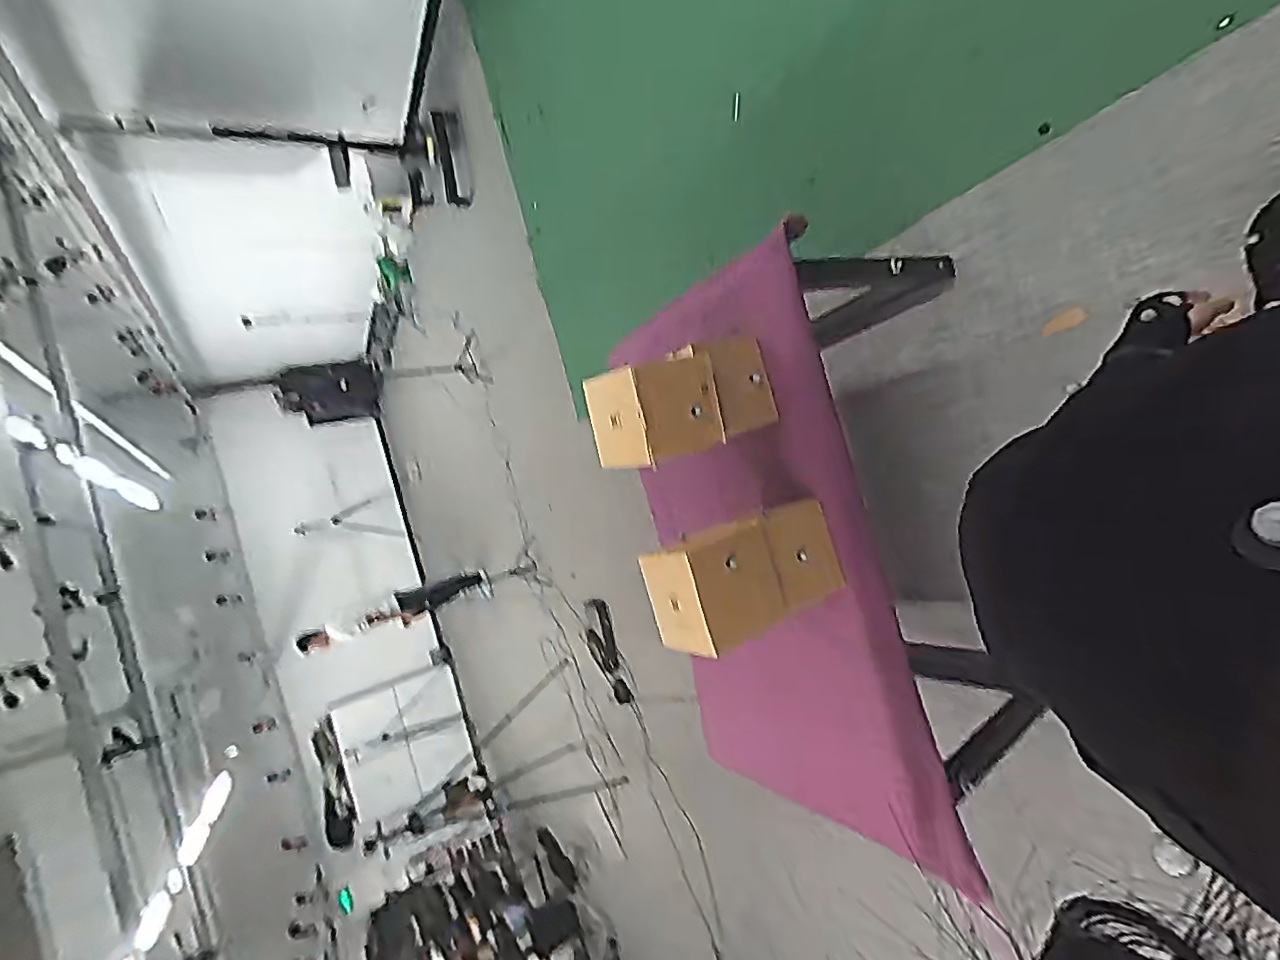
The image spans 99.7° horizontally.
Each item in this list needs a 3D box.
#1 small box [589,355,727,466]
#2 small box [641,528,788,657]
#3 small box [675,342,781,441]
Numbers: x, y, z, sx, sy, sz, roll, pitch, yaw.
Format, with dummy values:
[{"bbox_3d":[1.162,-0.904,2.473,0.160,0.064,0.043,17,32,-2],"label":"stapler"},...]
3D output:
[{"bbox_3d":[0.031,-0.123,0.987,0.179,0.176,0.168,-4,100,58],"label":"small box"},{"bbox_3d":[0.130,0.187,0.955,0.168,0.176,0.179,-18,88,60],"label":"small box"},{"bbox_3d":[0.153,-0.170,1.088,0.168,0.176,0.179,-19,86,60],"label":"small box"}]
